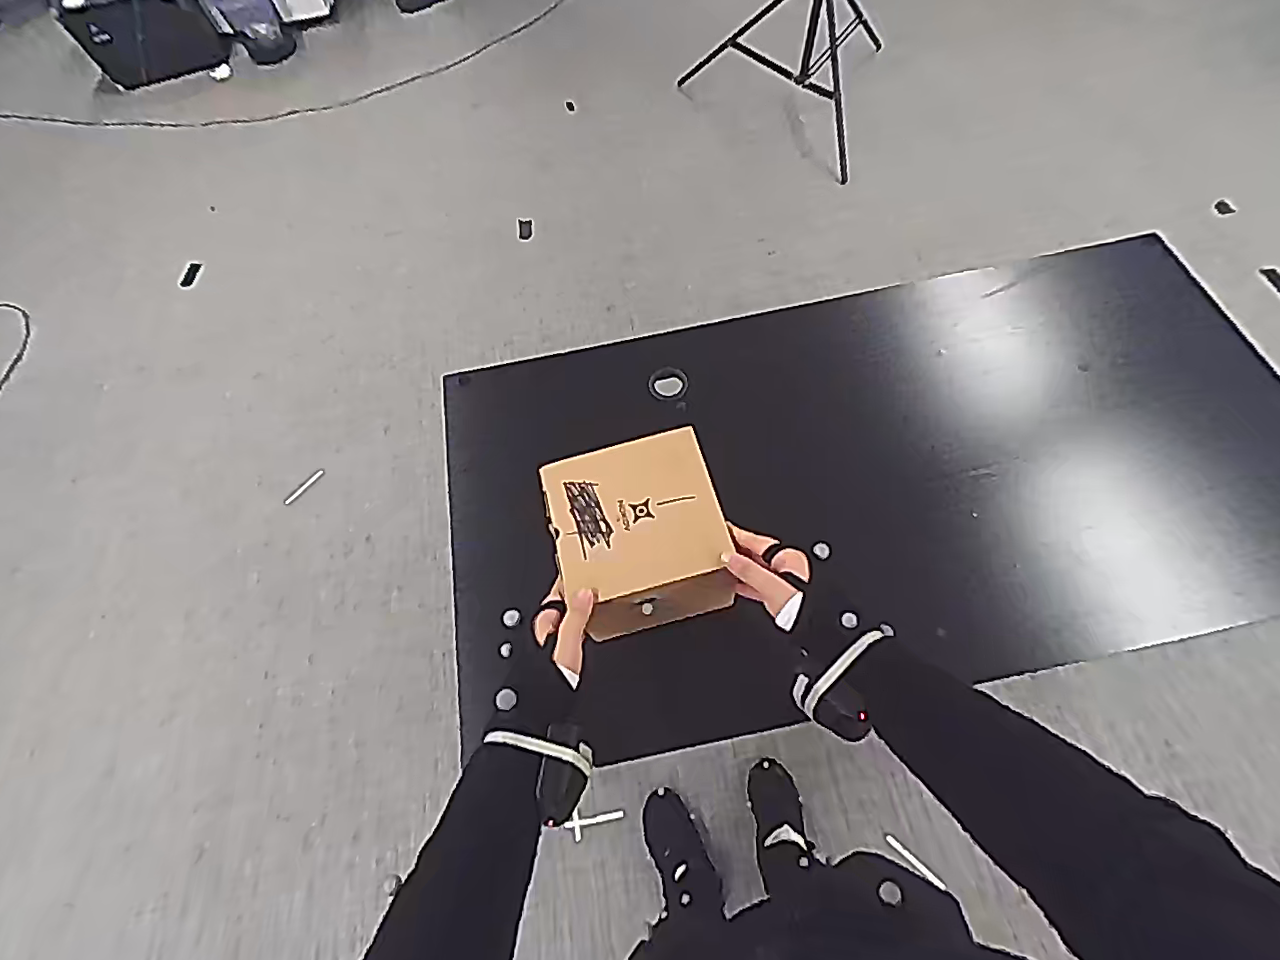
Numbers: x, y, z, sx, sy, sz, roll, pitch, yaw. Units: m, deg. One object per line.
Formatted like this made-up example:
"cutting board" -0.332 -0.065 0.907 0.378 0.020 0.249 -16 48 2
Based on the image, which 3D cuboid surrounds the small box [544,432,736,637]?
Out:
"small box" 0.003 0.073 0.634 0.179 0.176 0.168 -15 63 -1
